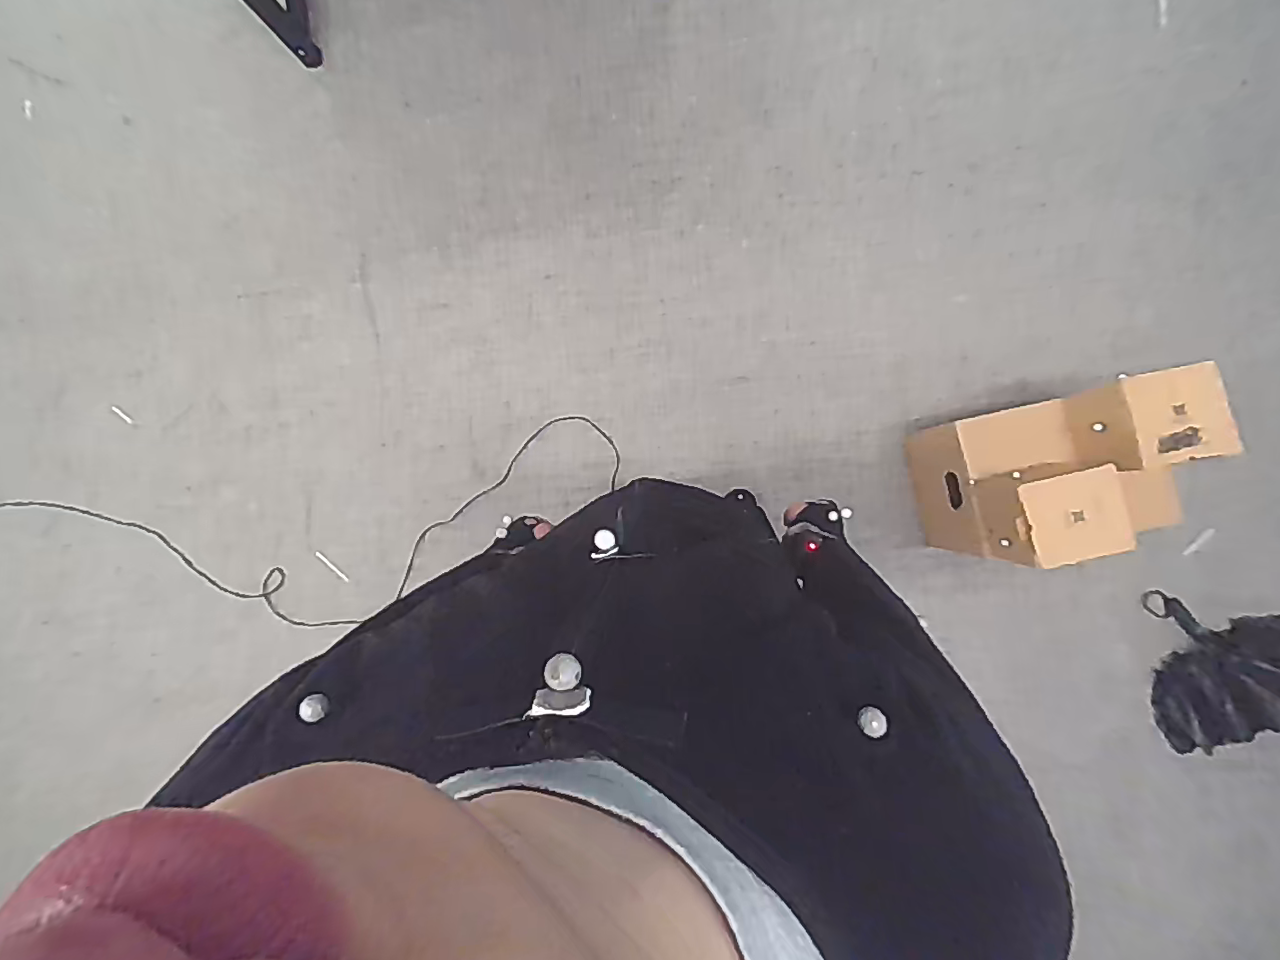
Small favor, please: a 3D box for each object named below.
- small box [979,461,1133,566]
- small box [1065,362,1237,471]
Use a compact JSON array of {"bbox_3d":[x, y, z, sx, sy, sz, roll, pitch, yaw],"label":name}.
[{"bbox_3d":[0.816,0.063,1.086,0.179,0.176,0.168,-15,91,5],"label":"small box"},{"bbox_3d":[0.993,-0.114,1.068,0.168,0.176,0.179,-11,85,6],"label":"small box"}]
